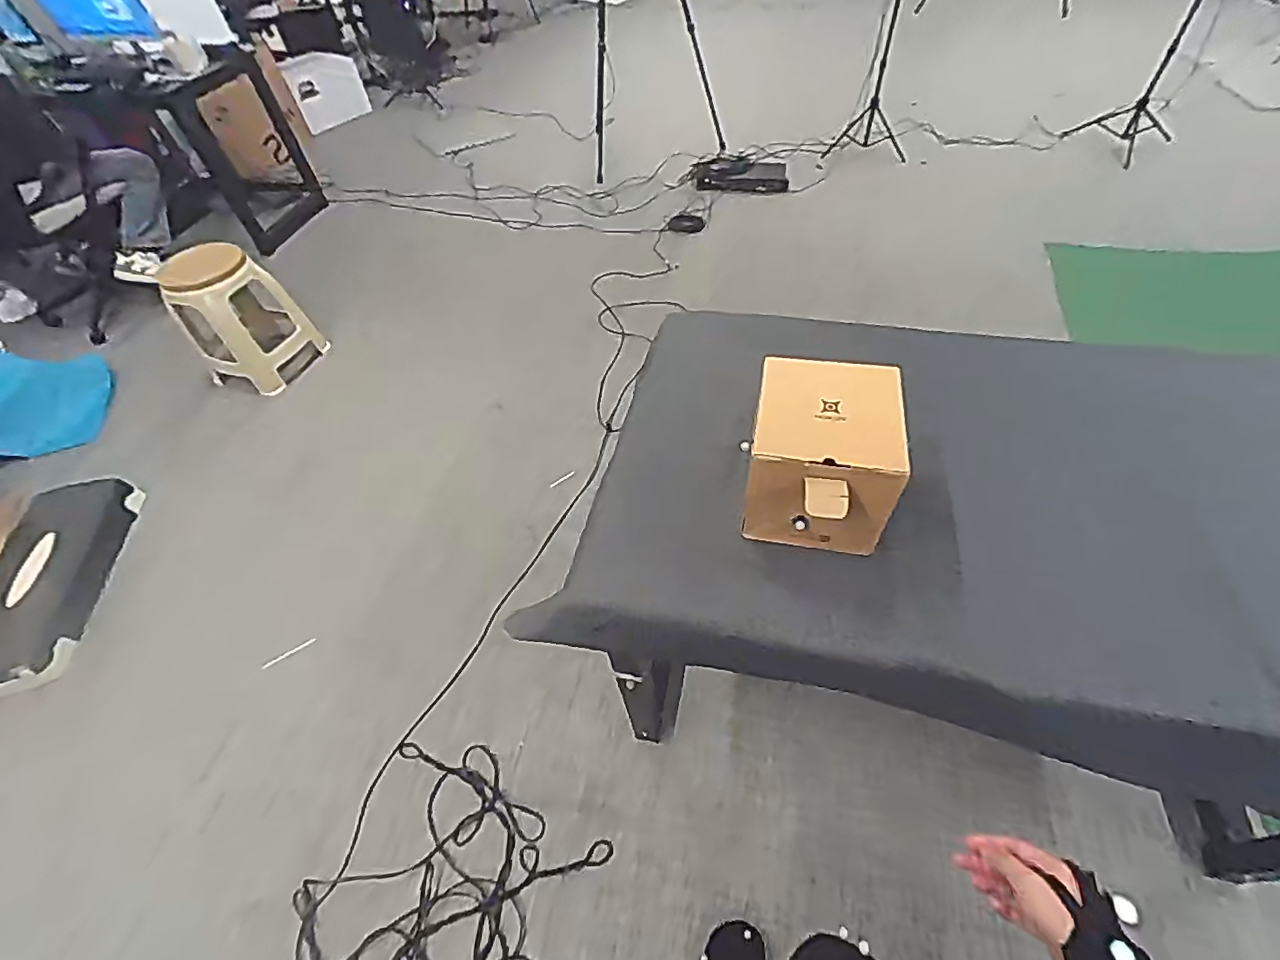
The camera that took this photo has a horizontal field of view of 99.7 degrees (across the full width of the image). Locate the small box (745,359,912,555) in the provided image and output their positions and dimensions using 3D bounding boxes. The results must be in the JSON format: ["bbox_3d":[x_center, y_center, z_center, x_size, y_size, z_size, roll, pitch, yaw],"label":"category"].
[{"bbox_3d":[0.231,-0.029,0.696,0.168,0.176,0.179,8,52,10],"label":"small box"}]
